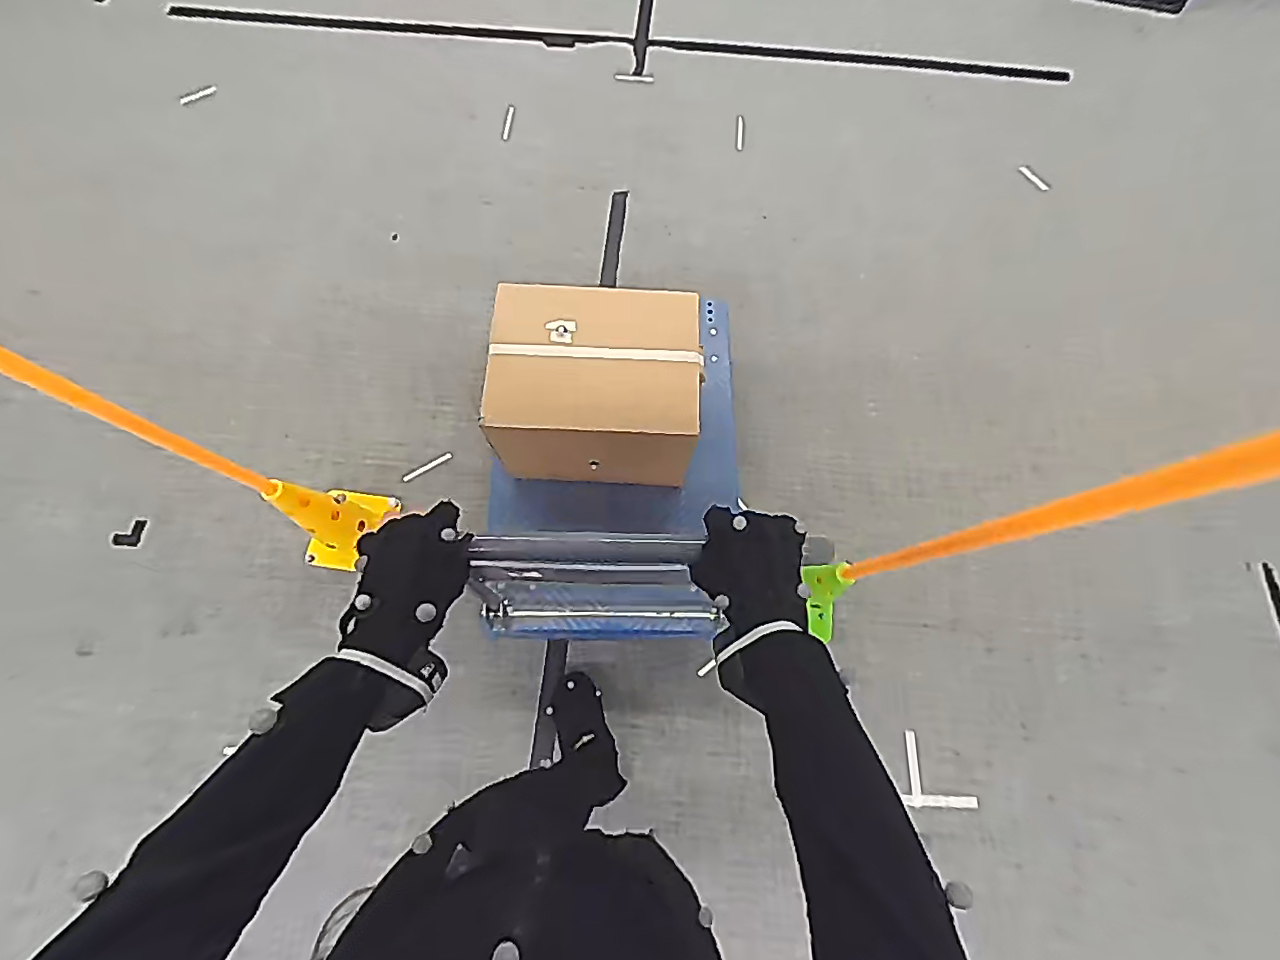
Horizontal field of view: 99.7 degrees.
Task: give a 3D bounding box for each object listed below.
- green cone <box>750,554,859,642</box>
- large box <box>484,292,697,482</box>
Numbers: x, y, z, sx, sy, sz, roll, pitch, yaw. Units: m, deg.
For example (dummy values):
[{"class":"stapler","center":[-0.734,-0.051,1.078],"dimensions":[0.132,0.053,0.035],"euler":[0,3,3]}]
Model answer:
[{"class":"green cone","center":[0.392,0.243,1.211],"dimensions":[0.202,0.368,0.200],"euler":[9,71,1]},{"class":"large box","center":[-0.088,-0.187,1.193],"dimensions":[0.408,0.320,0.320],"euler":[3,72,0]}]
